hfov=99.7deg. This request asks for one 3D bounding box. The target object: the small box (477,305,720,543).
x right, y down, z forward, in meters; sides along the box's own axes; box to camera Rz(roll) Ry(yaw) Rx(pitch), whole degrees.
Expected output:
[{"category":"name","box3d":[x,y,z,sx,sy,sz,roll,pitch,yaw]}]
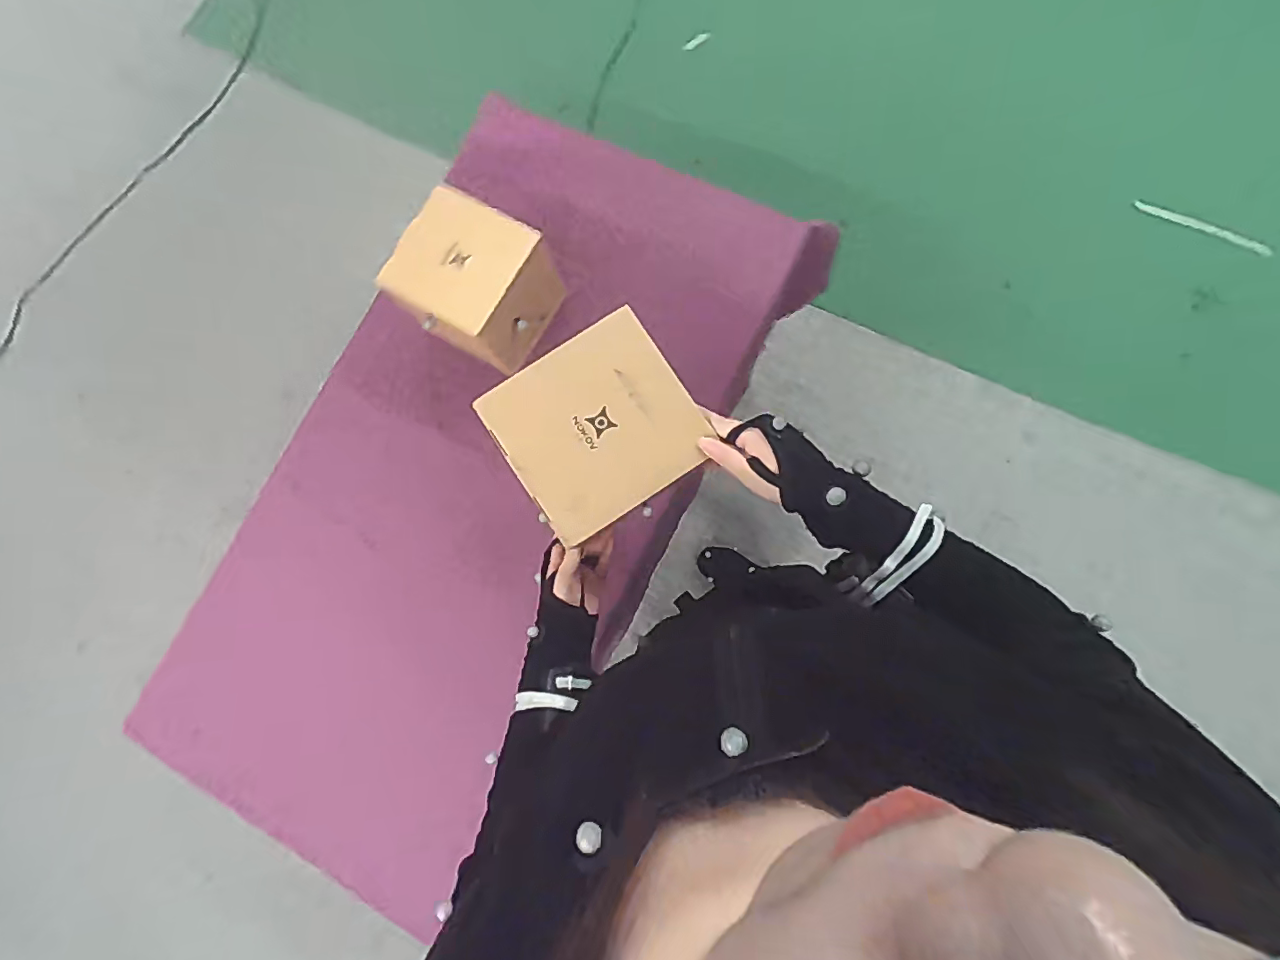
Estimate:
[{"category":"small box","box3d":[-0.038,-0.045,0.576,0.179,0.176,0.168,-32,86,-3]}]

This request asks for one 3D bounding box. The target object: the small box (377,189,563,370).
[{"category":"small box","box3d":[-0.240,-0.286,0.812,0.179,0.176,0.168,29,86,10]}]
